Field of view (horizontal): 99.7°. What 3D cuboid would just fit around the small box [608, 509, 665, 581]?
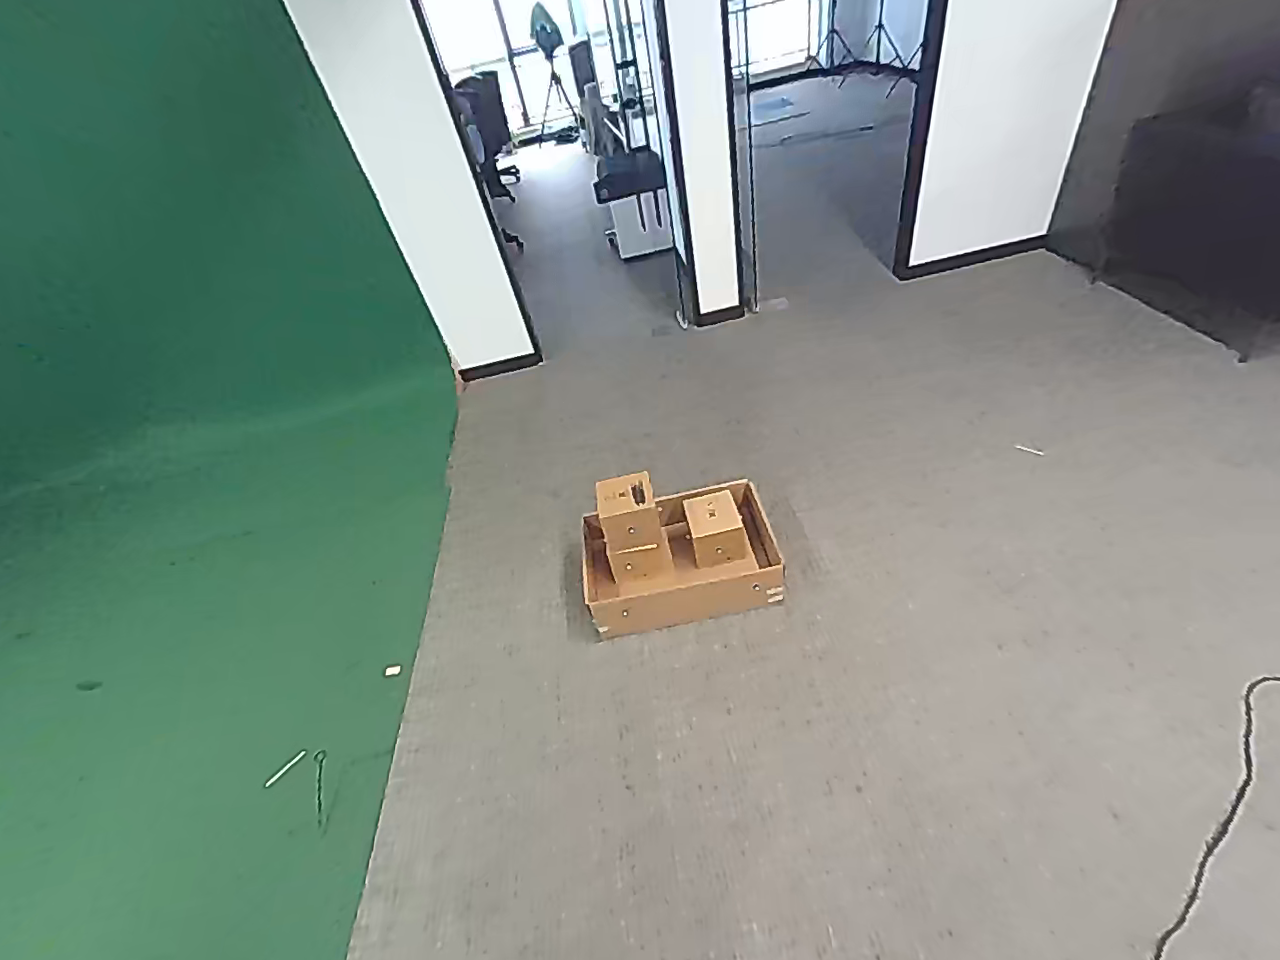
[{"bbox_3d":[-0.012,0.228,1.835,0.168,0.176,0.179,-9,42,4],"label":"small box"}]

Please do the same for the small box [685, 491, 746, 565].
[{"bbox_3d":[0.256,0.169,1.823,0.168,0.176,0.179,-13,43,2],"label":"small box"}]
